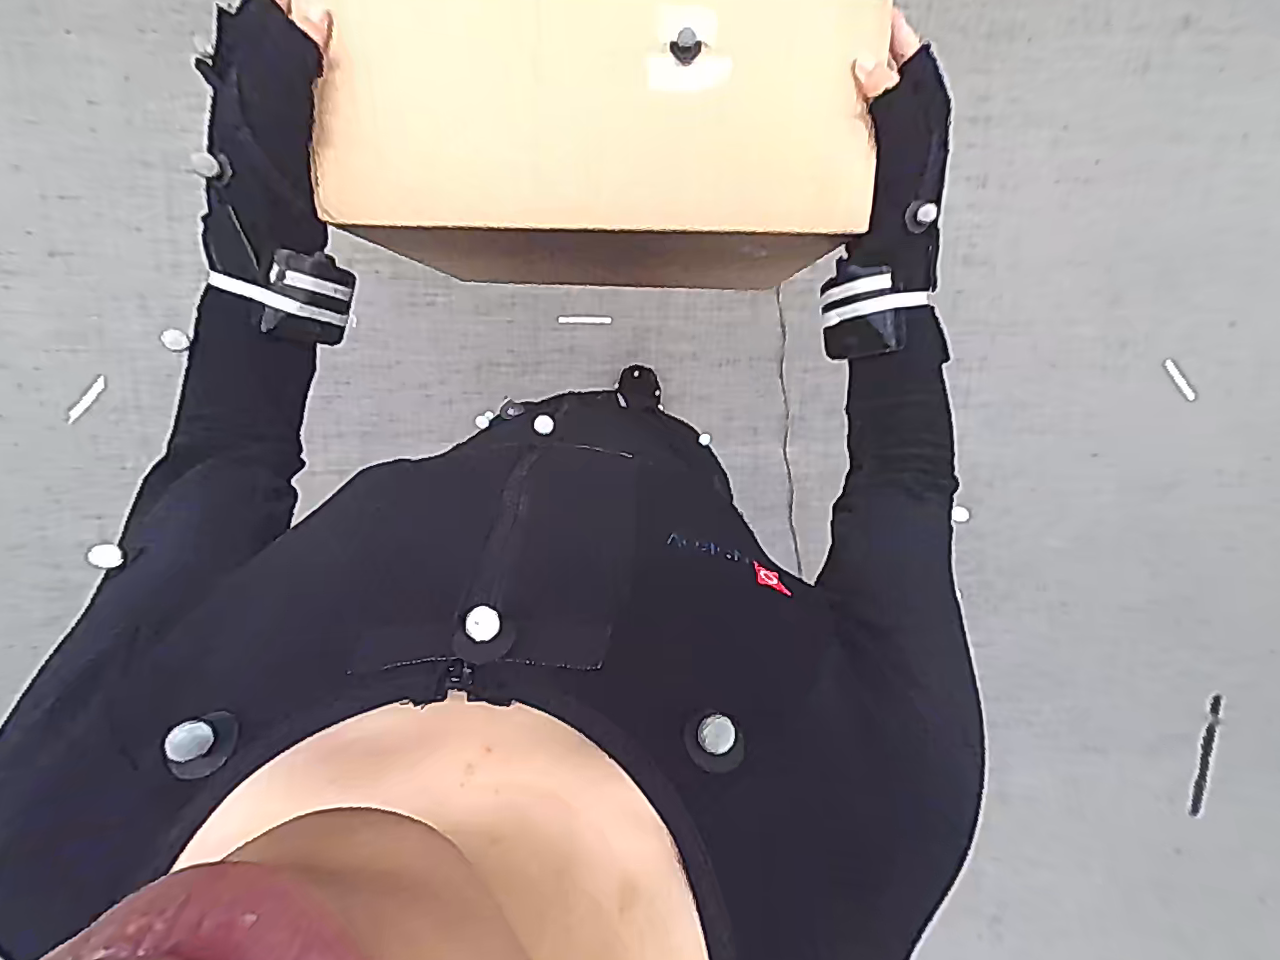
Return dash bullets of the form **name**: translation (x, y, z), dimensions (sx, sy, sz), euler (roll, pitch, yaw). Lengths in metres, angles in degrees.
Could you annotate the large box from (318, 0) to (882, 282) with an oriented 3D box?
- **large box**: translation (-0.028, -0.378, 0.523), dimensions (0.408, 0.320, 0.320), euler (1, 102, 0)
